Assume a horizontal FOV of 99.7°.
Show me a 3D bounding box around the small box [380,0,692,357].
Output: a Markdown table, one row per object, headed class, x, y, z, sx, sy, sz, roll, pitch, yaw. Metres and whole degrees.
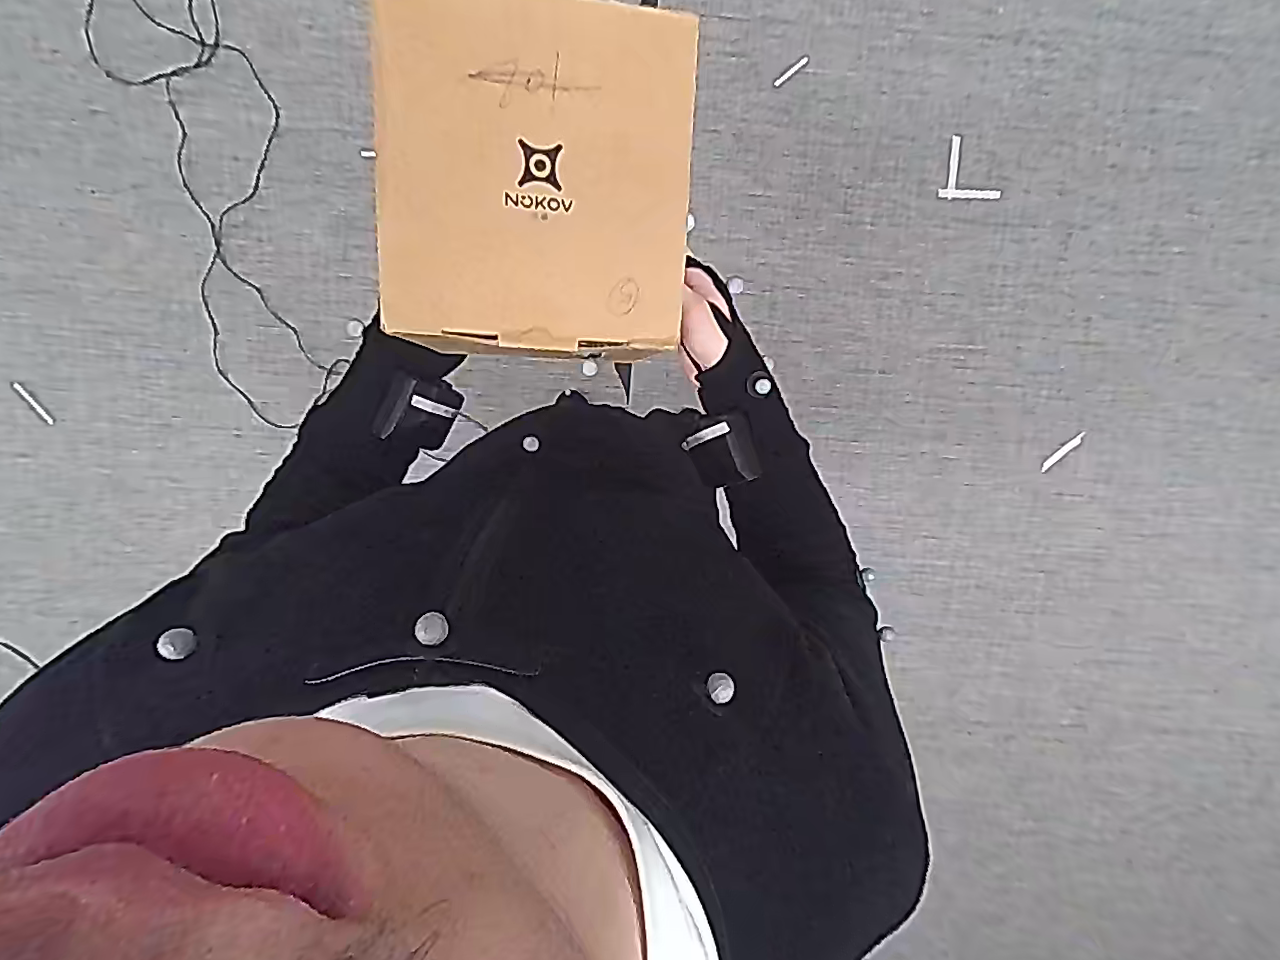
| class | x | y | z | sx | sy | sz | roll | pitch | yaw |
| --- | --- | --- | --- | --- | --- | --- | --- | --- | --- |
| small box | -0.069 | -0.181 | 0.376 | 0.168 | 0.176 | 0.179 | 1 | 99 | -11 |
